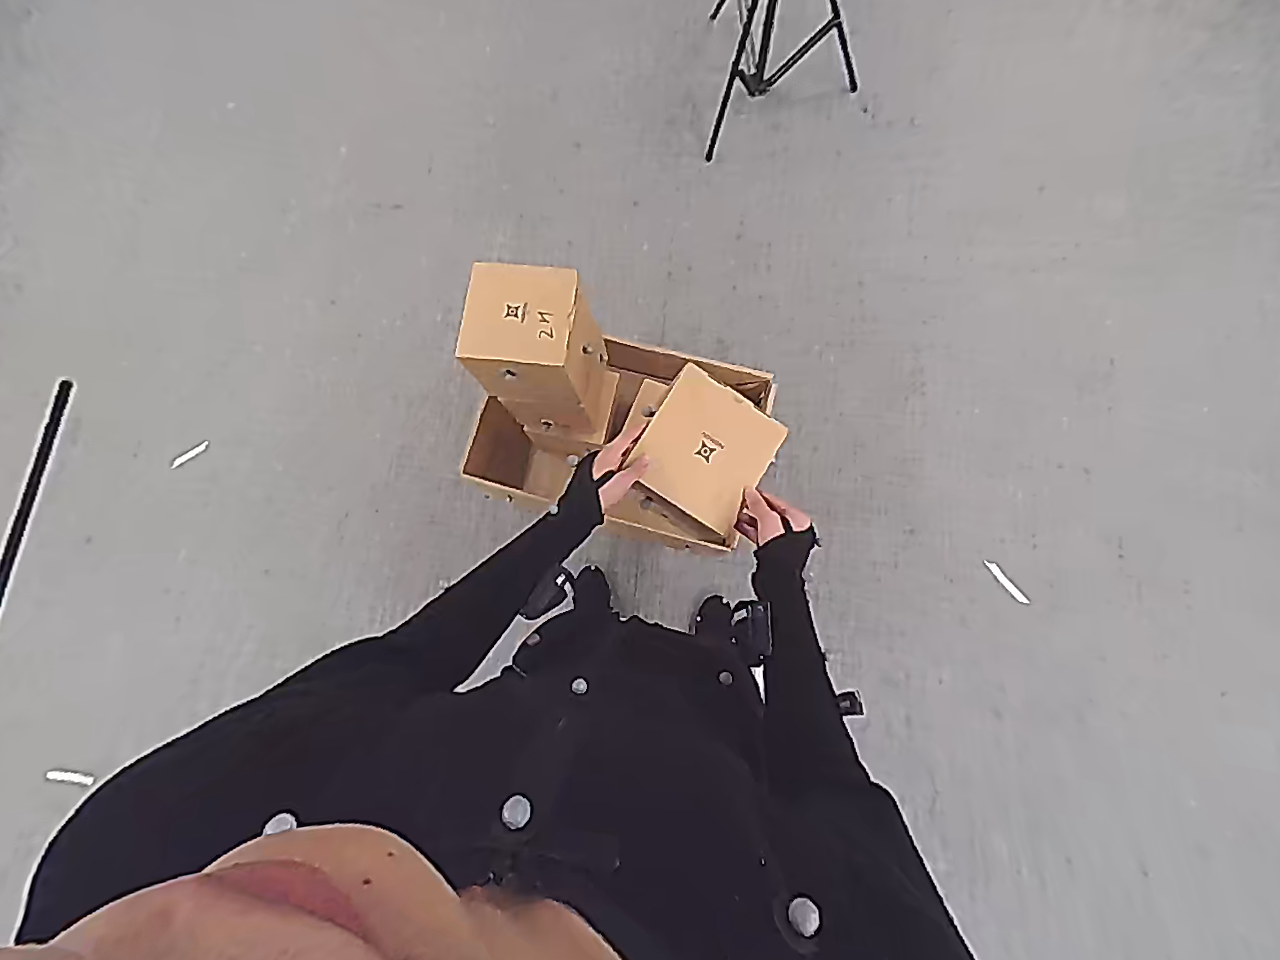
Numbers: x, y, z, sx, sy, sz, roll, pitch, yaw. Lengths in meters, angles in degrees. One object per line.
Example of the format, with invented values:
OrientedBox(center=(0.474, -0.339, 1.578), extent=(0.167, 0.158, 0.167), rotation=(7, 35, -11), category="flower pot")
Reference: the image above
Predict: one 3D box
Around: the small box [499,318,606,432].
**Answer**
OrientedBox(center=(-0.163, -0.210, 1.074), extent=(0.168, 0.176, 0.179), rotation=(6, 79, 5), category="small box")

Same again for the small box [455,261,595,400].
OrientedBox(center=(-0.183, -0.244, 0.915), extent=(0.179, 0.176, 0.168), rotation=(7, 79, 5), category="small box")

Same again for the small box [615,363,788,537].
OrientedBox(center=(0.076, -0.031, 0.781), extent=(0.168, 0.176, 0.179), rotation=(33, 79, -5), category="small box")
